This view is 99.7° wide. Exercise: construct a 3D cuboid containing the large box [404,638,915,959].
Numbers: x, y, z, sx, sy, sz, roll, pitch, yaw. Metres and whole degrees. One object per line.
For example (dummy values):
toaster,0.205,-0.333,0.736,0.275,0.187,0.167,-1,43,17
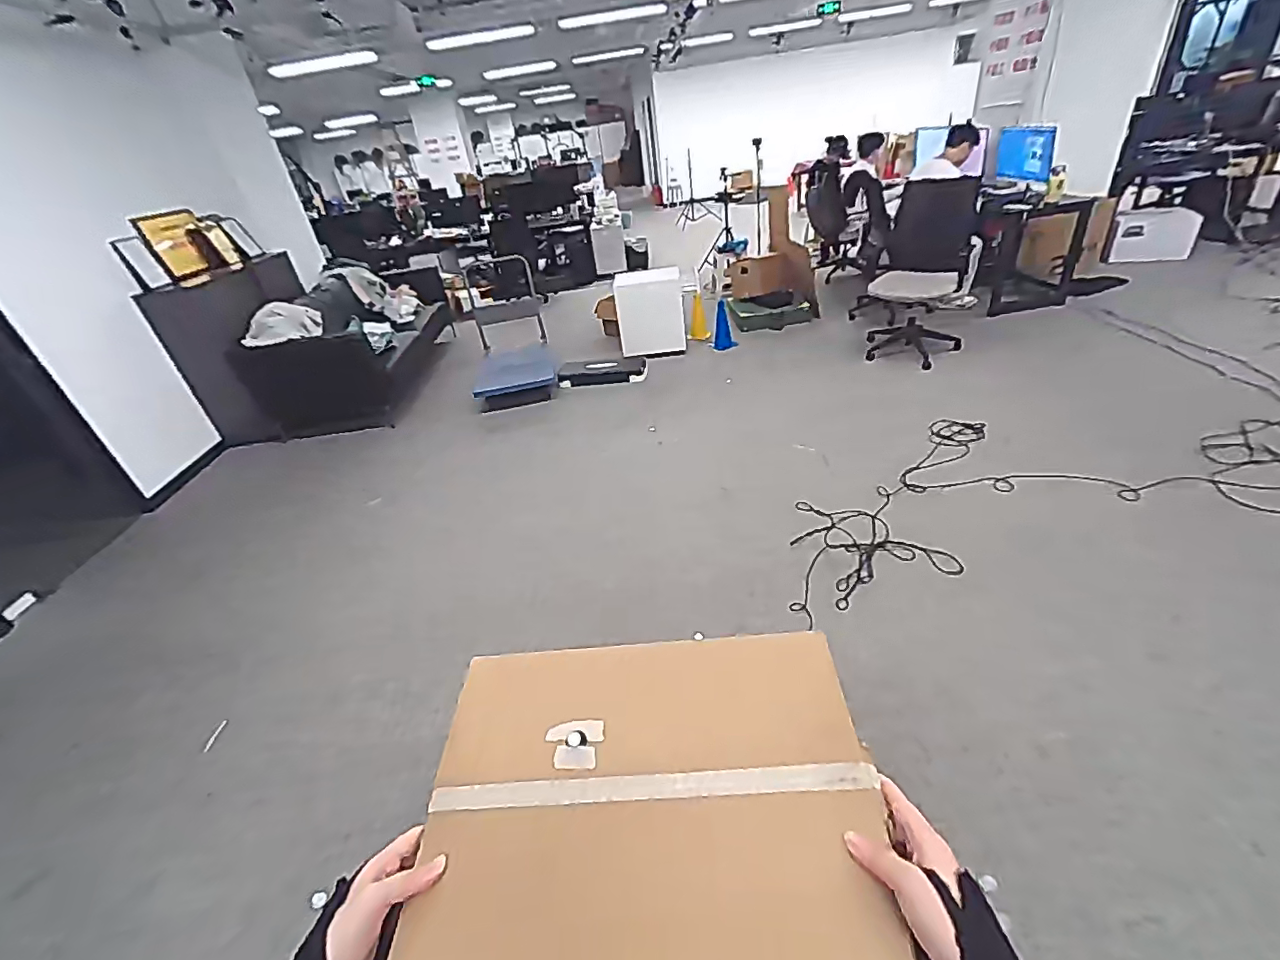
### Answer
large box,0.030,0.411,0.592,0.408,0.320,0.320,-8,38,7
